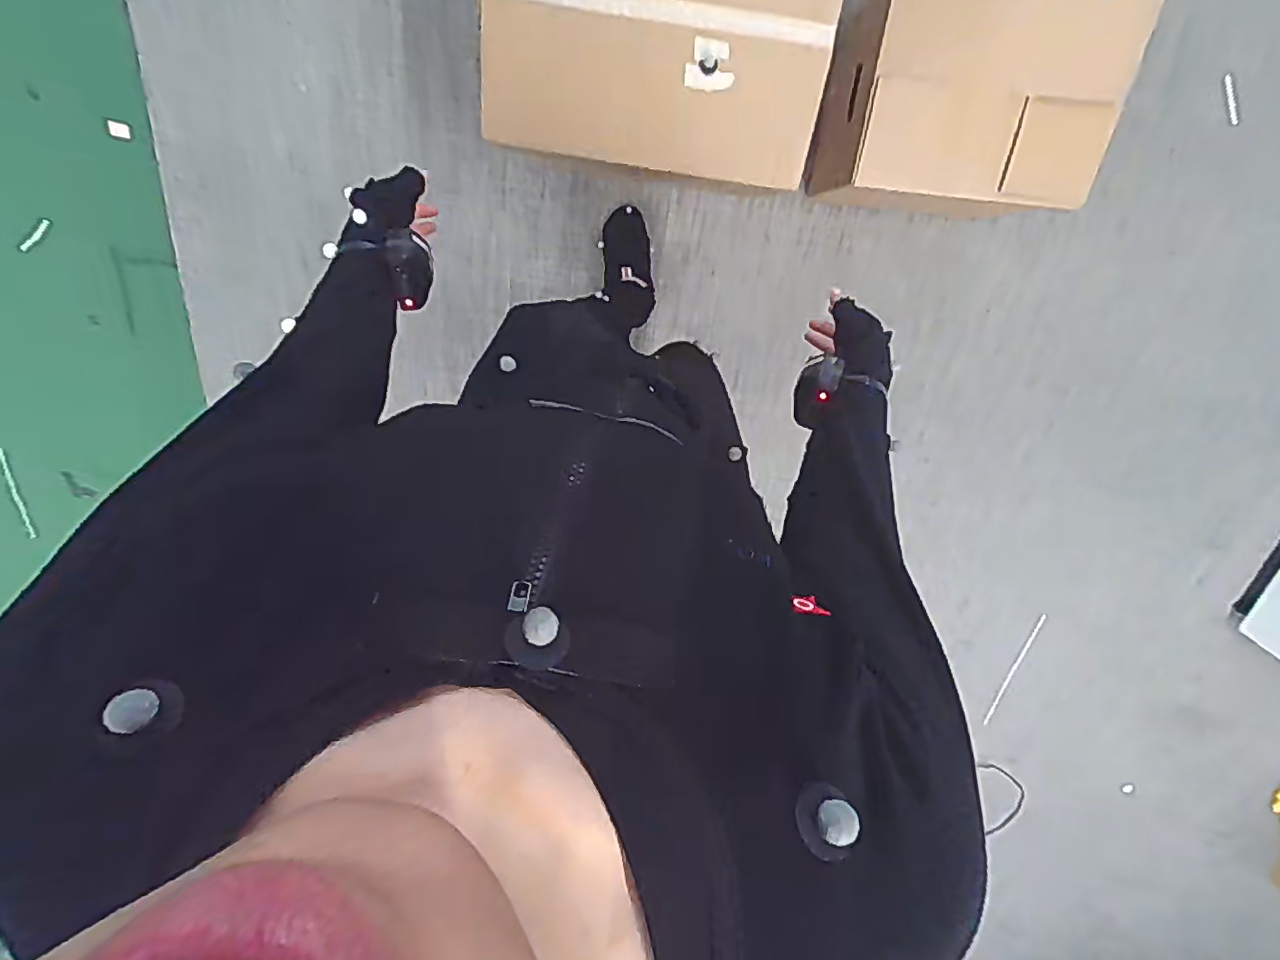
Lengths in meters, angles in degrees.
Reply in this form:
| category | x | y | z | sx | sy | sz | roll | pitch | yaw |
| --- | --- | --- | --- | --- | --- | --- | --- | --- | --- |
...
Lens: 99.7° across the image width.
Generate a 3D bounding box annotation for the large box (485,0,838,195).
| category | x | y | z | sx | sy | sz | roll | pitch | yaw |
| --- | --- | --- | --- | --- | --- | --- | --- | --- | --- |
| large box | 0.023 | -0.599 | 0.749 | 0.408 | 0.320 | 0.320 | 8 | 116 | -3 |
